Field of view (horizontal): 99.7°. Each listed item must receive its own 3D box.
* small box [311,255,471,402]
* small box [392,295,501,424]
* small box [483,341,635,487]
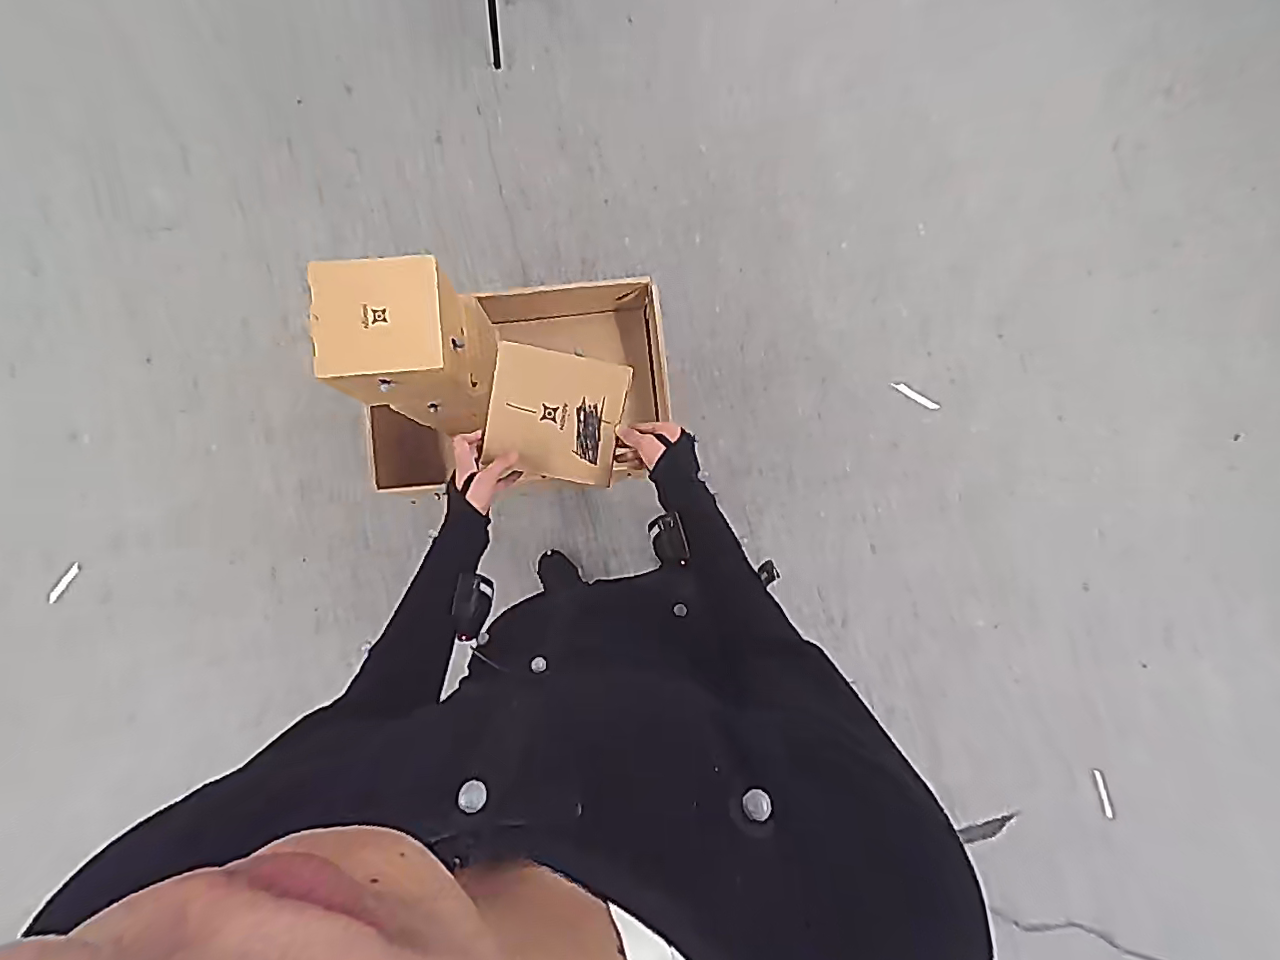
[{"bbox_3d":[-0.363,-0.220,0.822,0.179,0.176,0.168,-6,86,-3],"label":"small box"},{"bbox_3d":[-0.347,-0.211,0.986,0.168,0.176,0.179,-9,86,-3],"label":"small box"},{"bbox_3d":[-0.111,-0.098,0.786,0.179,0.176,0.168,11,98,-4],"label":"small box"}]
